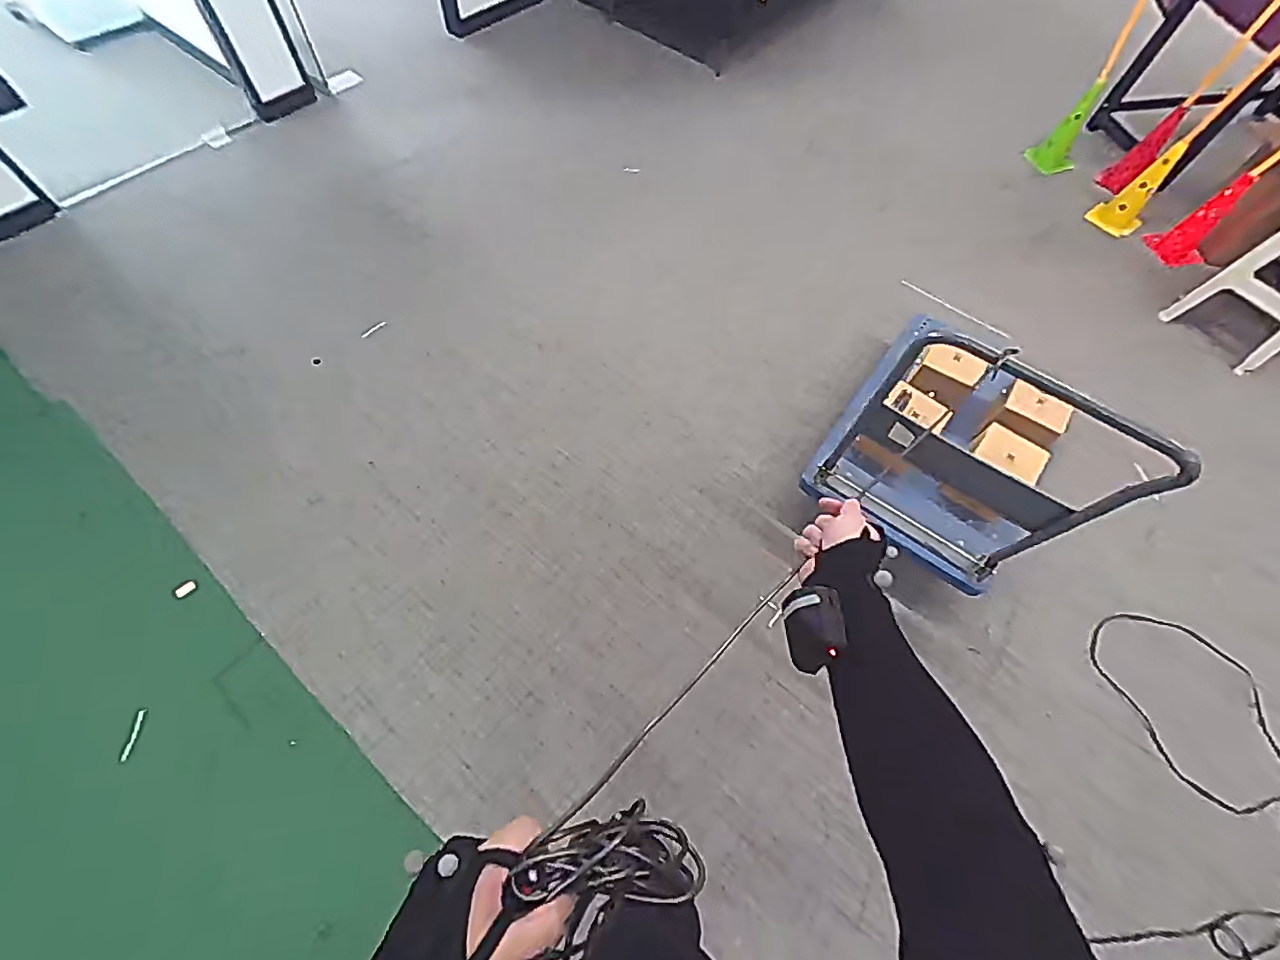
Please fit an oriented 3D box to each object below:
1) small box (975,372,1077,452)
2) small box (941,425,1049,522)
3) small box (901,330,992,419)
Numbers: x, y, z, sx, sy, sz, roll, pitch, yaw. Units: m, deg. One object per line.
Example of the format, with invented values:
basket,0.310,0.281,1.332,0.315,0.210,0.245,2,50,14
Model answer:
small box,1.148,-0.183,1.619,0.168,0.176,0.179,33,66,15
small box,0.991,-0.013,1.526,0.168,0.176,0.179,36,67,16
small box,0.945,-0.322,1.684,0.168,0.176,0.179,31,65,13
